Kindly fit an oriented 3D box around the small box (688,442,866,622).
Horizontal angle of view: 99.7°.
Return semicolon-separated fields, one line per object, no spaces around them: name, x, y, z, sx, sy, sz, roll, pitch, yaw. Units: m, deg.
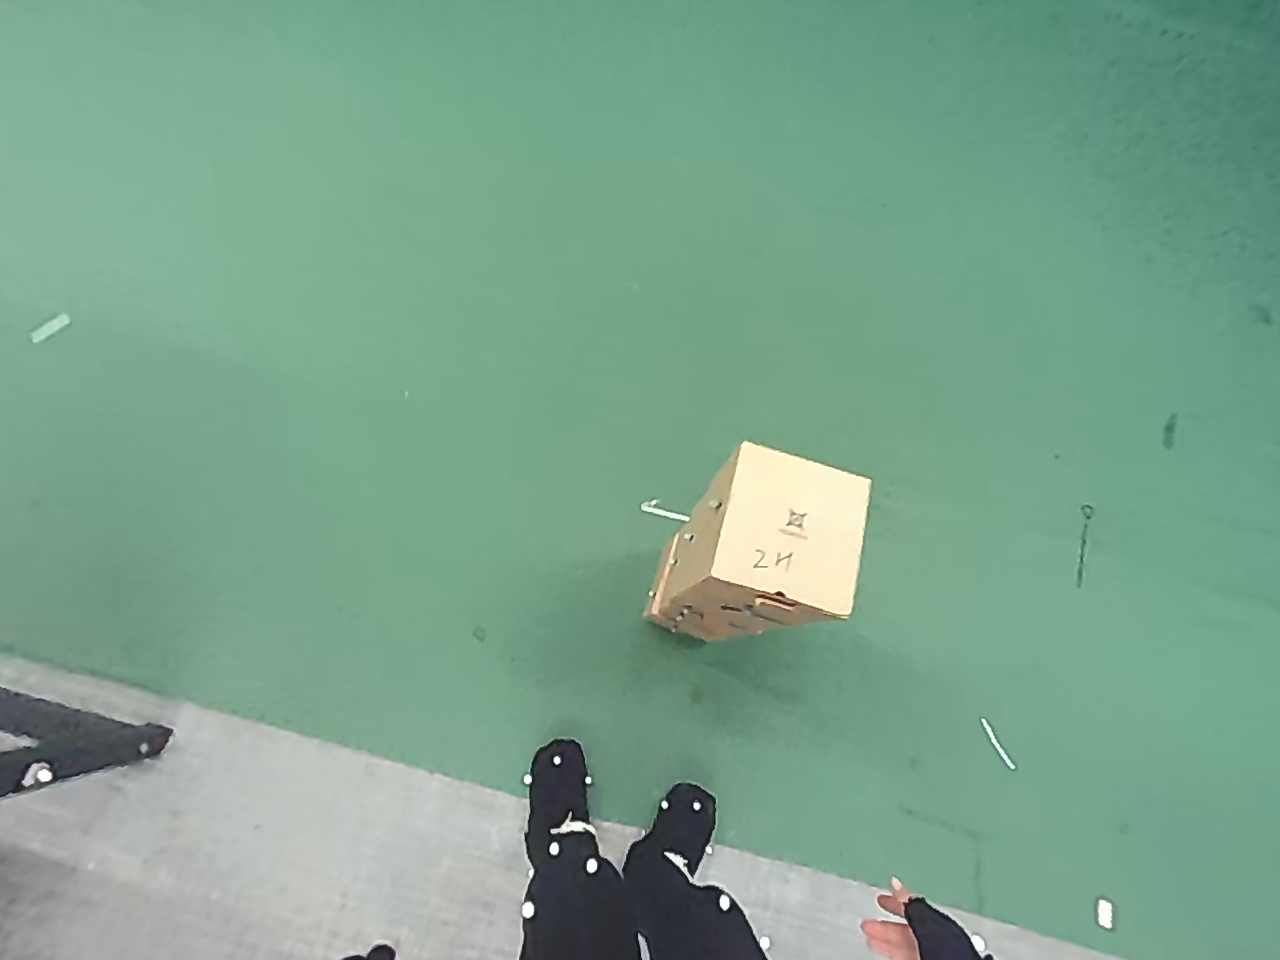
small box;0.170;0.077;0.714;0.168;0.176;0.179;17;72;0

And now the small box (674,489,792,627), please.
small box;0.159;0.129;0.871;0.168;0.176;0.179;18;71;0

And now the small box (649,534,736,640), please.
small box;0.124;0.238;1.179;0.168;0.176;0.179;18;73;0
